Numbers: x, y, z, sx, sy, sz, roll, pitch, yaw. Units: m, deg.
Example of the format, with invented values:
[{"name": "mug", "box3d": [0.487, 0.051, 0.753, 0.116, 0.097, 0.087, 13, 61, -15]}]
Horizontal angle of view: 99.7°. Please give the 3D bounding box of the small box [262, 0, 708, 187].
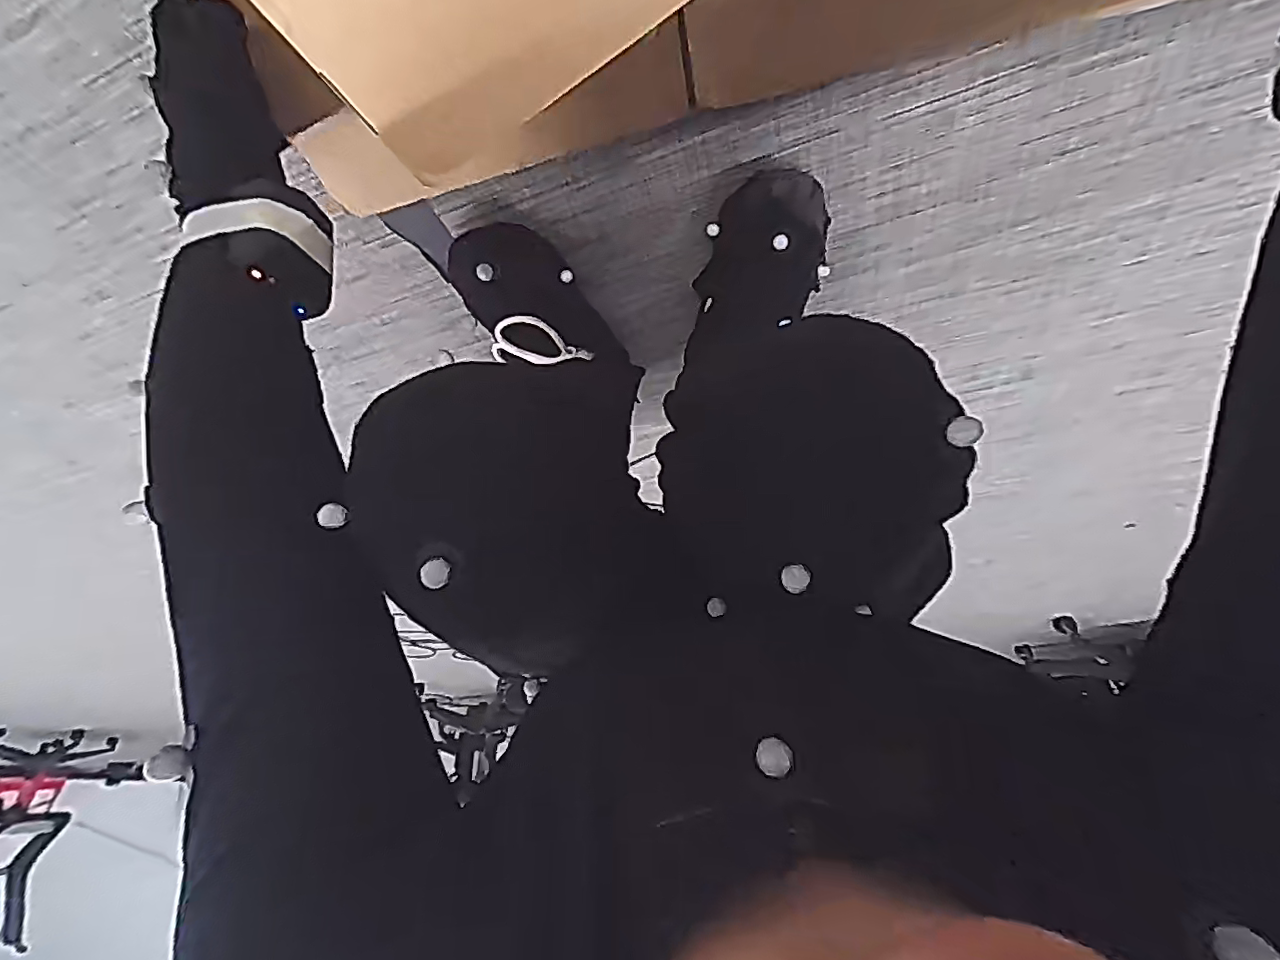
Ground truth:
[{"name": "small box", "box3d": [-0.078, -0.279, 0.228, 0.179, 0.176, 0.168, -21, 145, 20]}]
